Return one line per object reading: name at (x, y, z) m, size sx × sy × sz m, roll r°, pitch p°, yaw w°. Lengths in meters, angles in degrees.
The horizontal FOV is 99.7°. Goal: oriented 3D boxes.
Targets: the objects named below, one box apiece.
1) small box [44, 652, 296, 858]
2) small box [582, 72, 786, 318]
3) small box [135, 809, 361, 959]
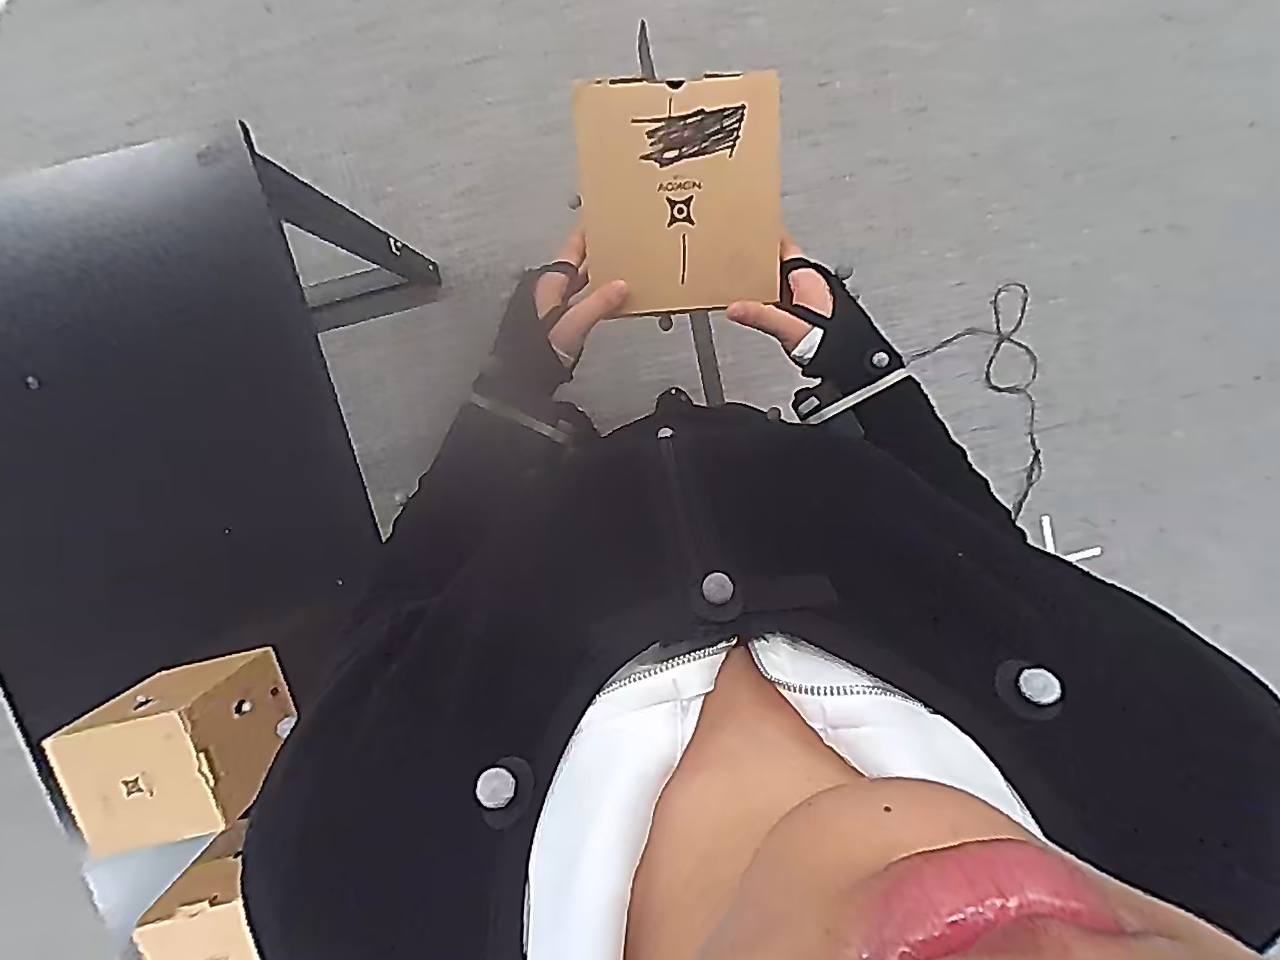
small box at (-0.602, 0.353, 0.726) m, size 0.179 × 0.176 × 0.168 m, roll -13°, pitch 98°, yaw 2°
small box at (0.032, -0.253, 0.520) m, size 0.168 × 0.176 × 0.179 m, roll -5°, pitch 106°, yaw -3°
small box at (-0.535, 0.603, 0.766) m, size 0.168 × 0.176 × 0.179 m, roll -15°, pitch 98°, yaw 2°
